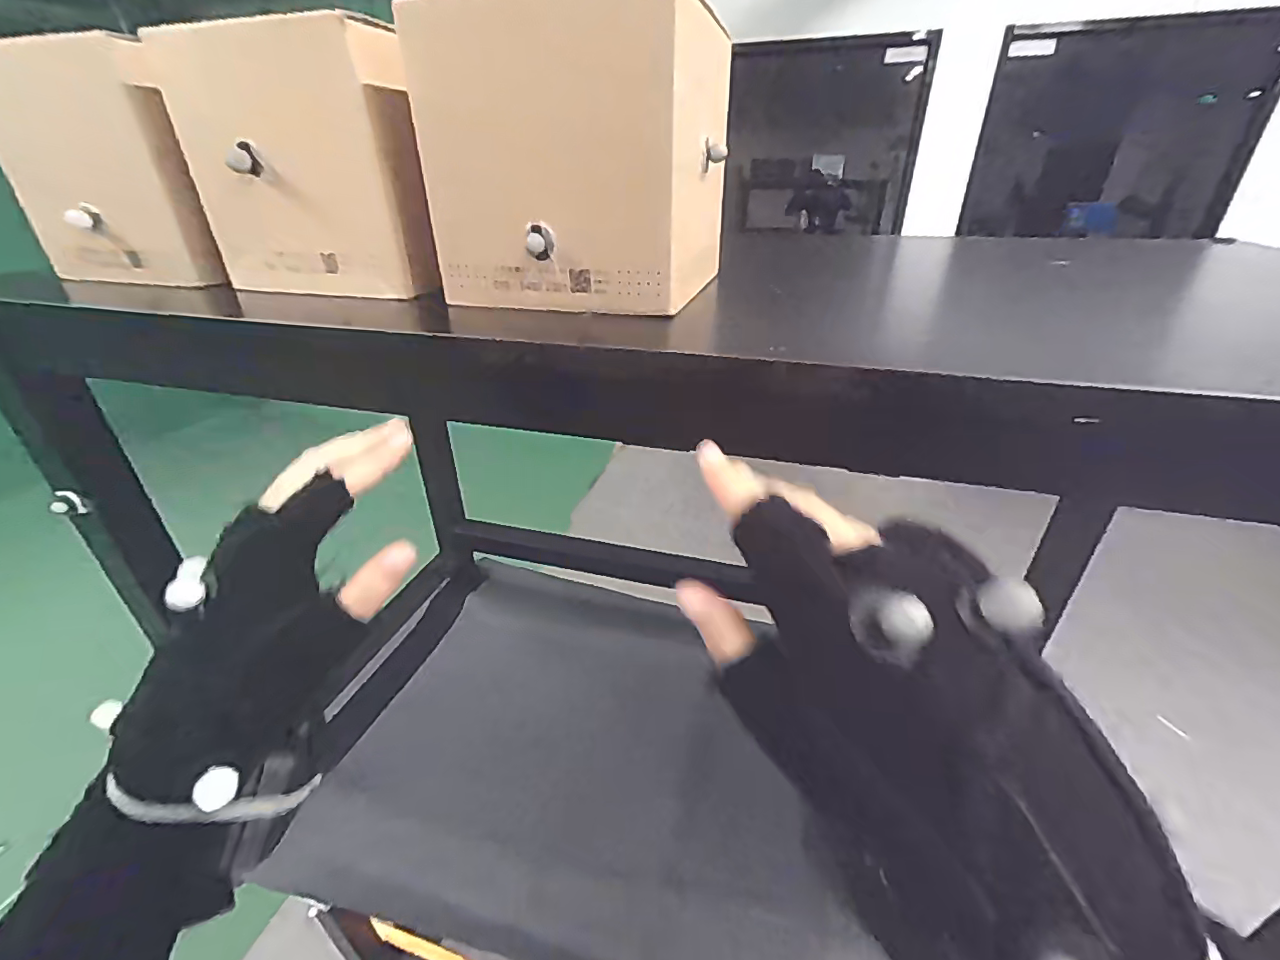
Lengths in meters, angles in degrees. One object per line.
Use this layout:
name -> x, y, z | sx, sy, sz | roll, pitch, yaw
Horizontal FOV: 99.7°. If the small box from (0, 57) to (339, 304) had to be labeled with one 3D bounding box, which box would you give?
small box -> -0.414, -0.270, 0.502 | 0.168, 0.176, 0.179 | 7, 31, 14
